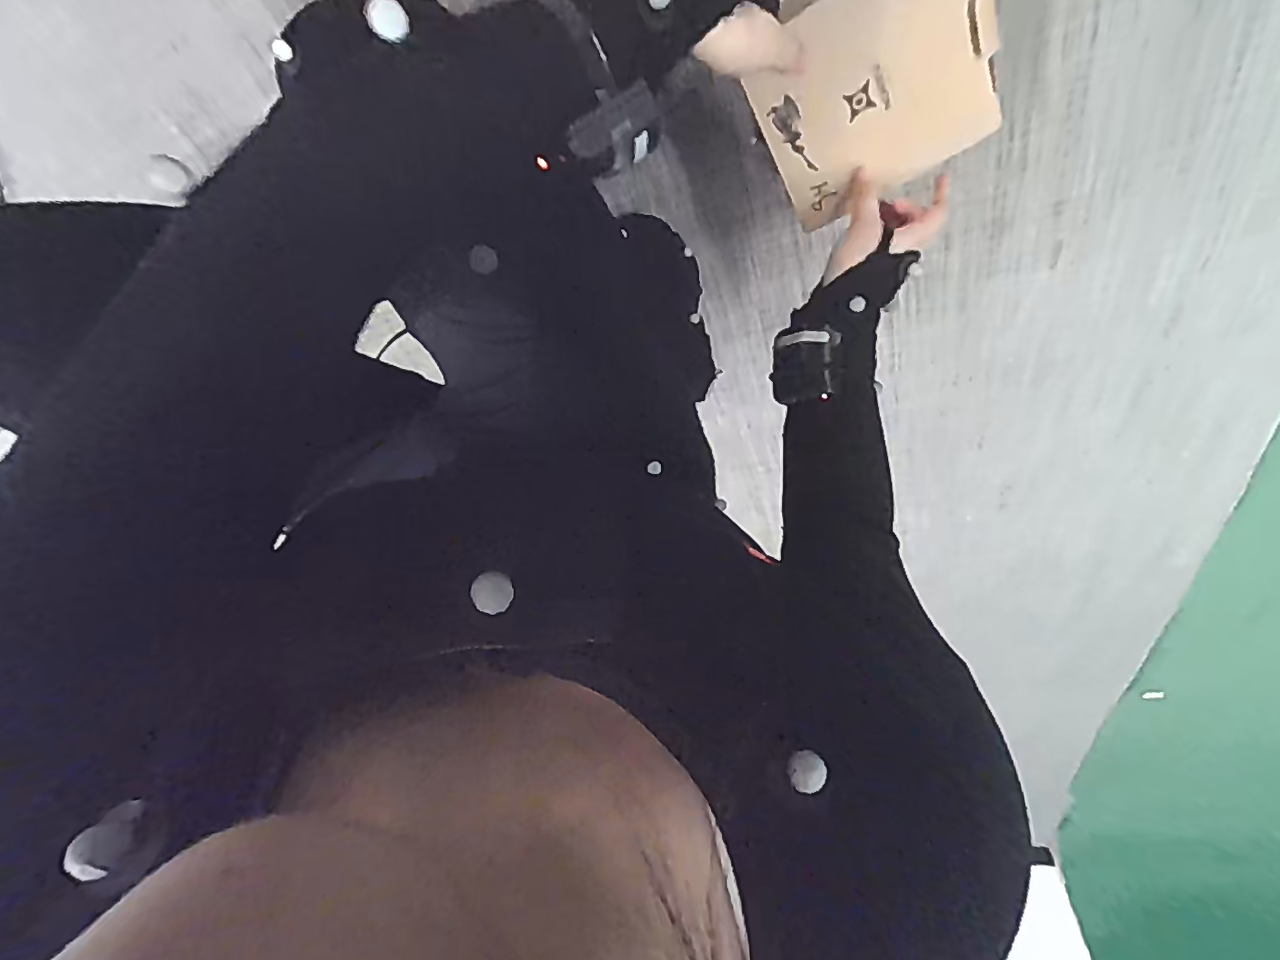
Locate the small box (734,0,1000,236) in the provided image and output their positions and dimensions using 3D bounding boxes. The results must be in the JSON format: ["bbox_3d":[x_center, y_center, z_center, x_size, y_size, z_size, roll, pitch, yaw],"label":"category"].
[{"bbox_3d":[0.199,-0.375,0.505,0.179,0.176,0.168,-20,131,27],"label":"small box"}]
